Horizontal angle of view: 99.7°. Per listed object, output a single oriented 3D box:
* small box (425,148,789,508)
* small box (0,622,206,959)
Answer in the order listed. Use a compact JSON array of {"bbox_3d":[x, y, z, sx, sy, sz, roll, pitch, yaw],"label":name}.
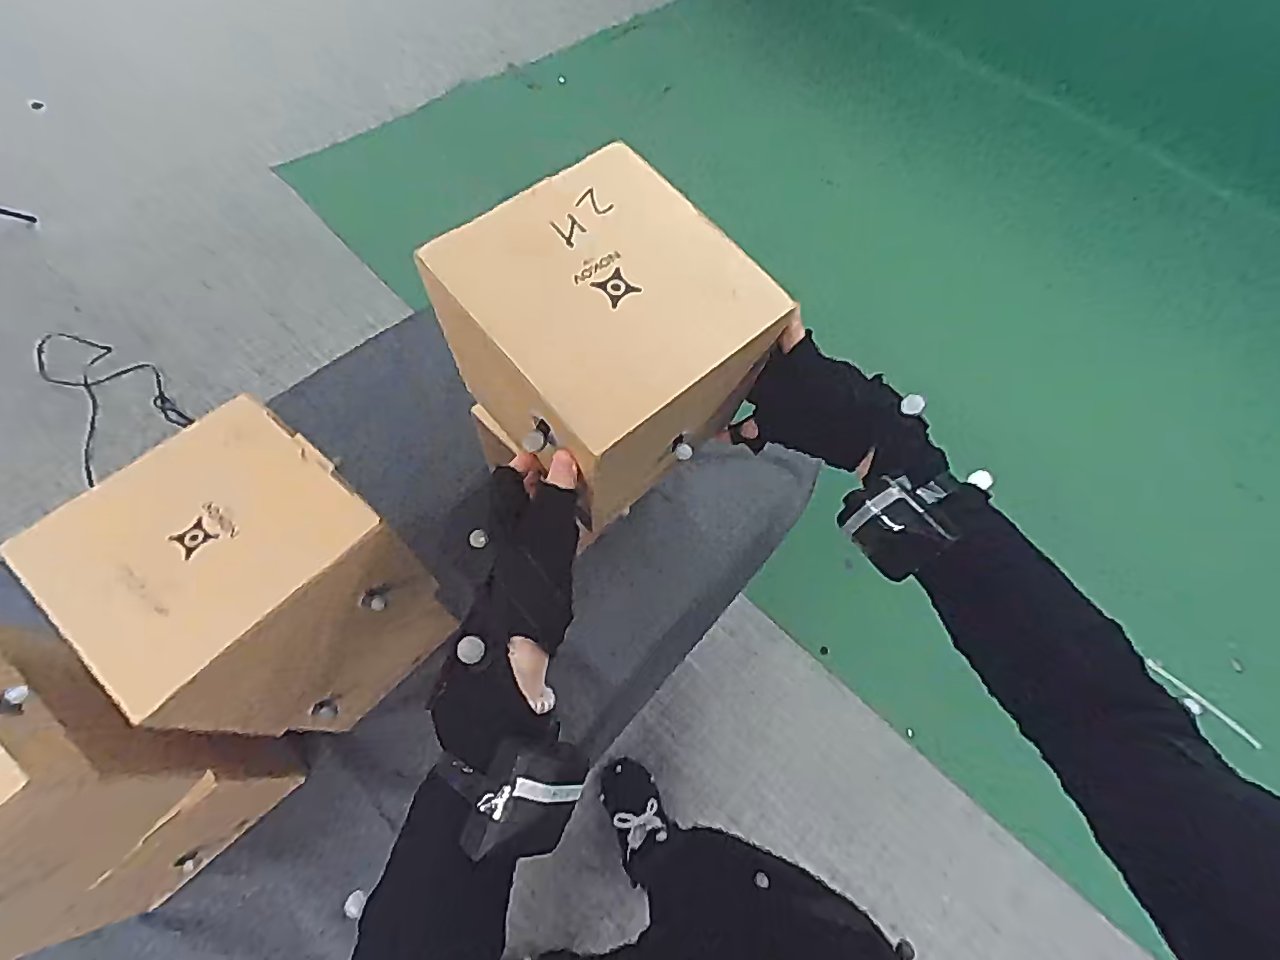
[{"bbox_3d":[-0.025,-0.097,0.415,0.168,0.176,0.179,-39,77,-18],"label":"small box"},{"bbox_3d":[-0.454,0.213,0.354,0.168,0.176,0.179,36,66,11],"label":"small box"}]
